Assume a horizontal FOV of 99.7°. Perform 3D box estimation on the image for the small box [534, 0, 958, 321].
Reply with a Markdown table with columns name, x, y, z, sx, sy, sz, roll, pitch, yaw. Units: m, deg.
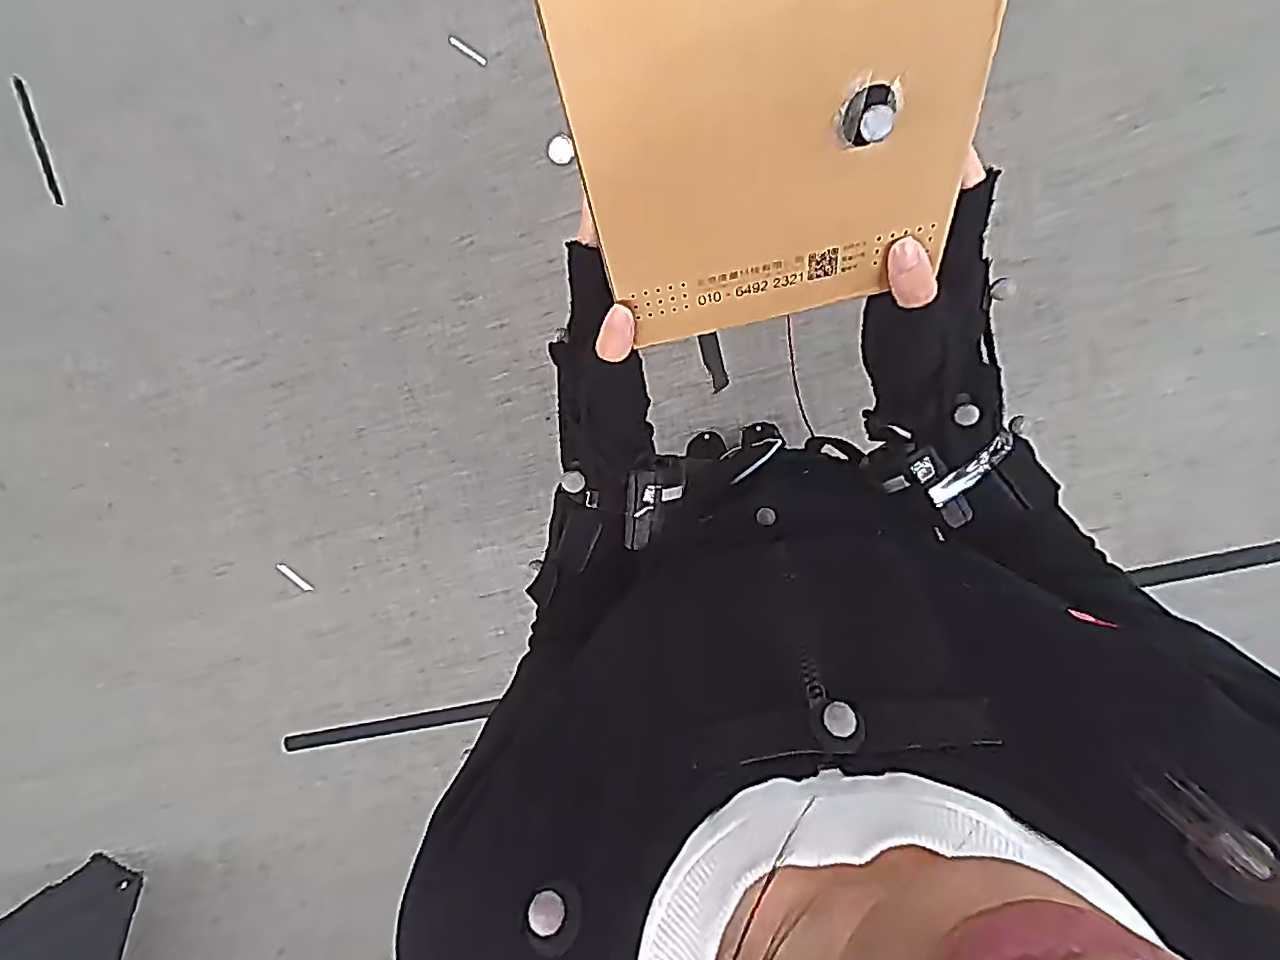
| name | x | y | z | sx | sy | sz | roll | pitch | yaw |
| --- | --- | --- | --- | --- | --- | --- | --- | --- | --- |
| small box | 0.051 | -0.207 | 0.297 | 0.168 | 0.176 | 0.179 | -11 | 50 | 6 |
